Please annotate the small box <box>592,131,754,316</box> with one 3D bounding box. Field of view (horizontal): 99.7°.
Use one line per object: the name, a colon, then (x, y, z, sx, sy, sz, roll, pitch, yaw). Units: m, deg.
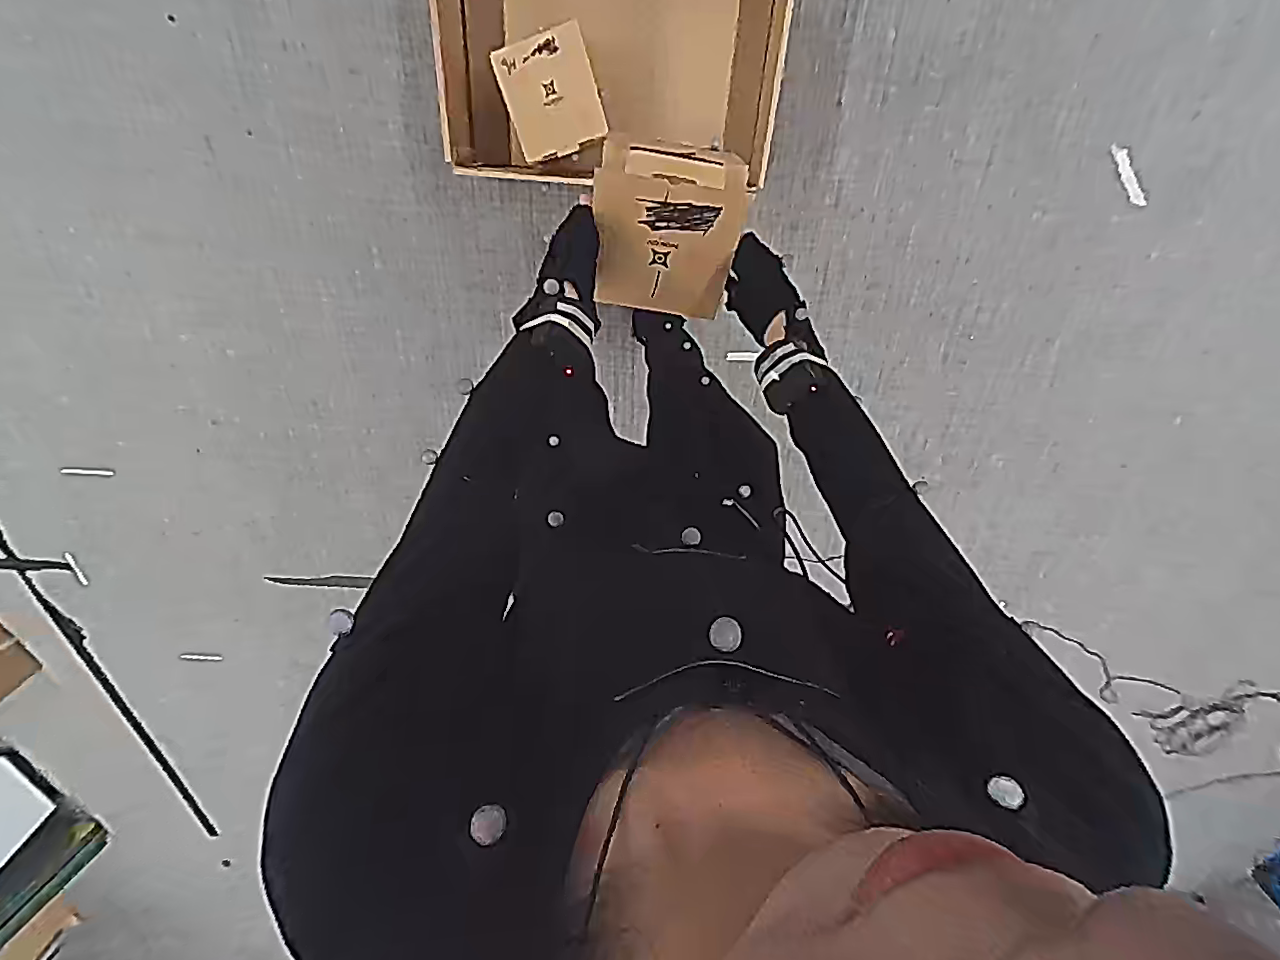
small box: (0.035, -0.334, 0.695, 0.168, 0.176, 0.179, 8, 126, -2)
